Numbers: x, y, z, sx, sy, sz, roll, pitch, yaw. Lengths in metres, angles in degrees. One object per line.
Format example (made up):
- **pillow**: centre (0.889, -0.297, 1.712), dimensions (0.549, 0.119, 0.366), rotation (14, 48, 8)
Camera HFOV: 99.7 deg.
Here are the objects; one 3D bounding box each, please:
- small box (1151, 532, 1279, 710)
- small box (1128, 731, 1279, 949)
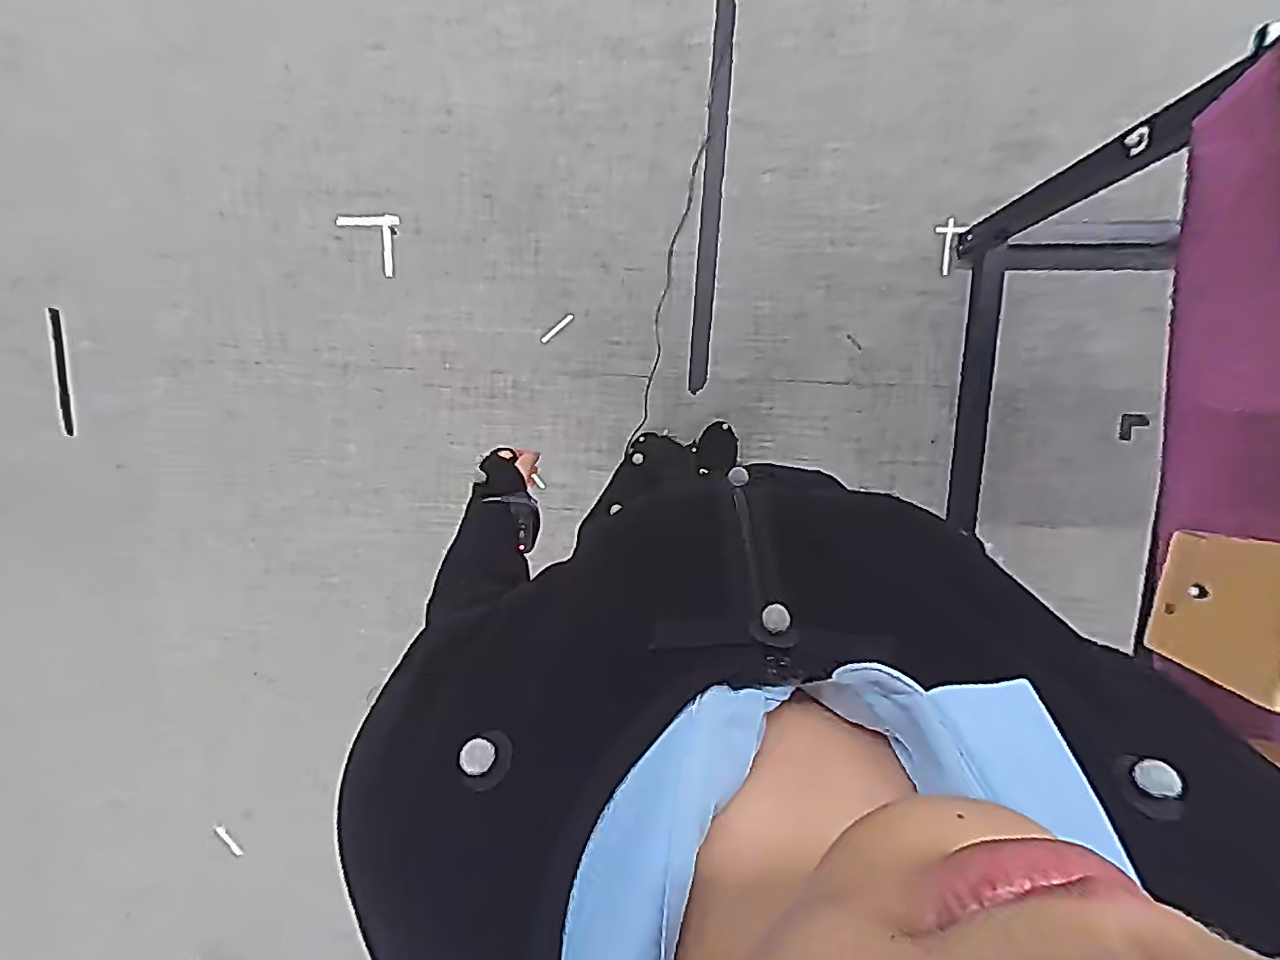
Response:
- **small box**: centre (0.781, 0.167, 0.639), dimensions (0.179, 0.176, 0.168), rotation (8, 98, 4)
- **small box**: centre (0.773, 0.440, 0.674), dimensions (0.179, 0.176, 0.168), rotation (6, 98, 1)
